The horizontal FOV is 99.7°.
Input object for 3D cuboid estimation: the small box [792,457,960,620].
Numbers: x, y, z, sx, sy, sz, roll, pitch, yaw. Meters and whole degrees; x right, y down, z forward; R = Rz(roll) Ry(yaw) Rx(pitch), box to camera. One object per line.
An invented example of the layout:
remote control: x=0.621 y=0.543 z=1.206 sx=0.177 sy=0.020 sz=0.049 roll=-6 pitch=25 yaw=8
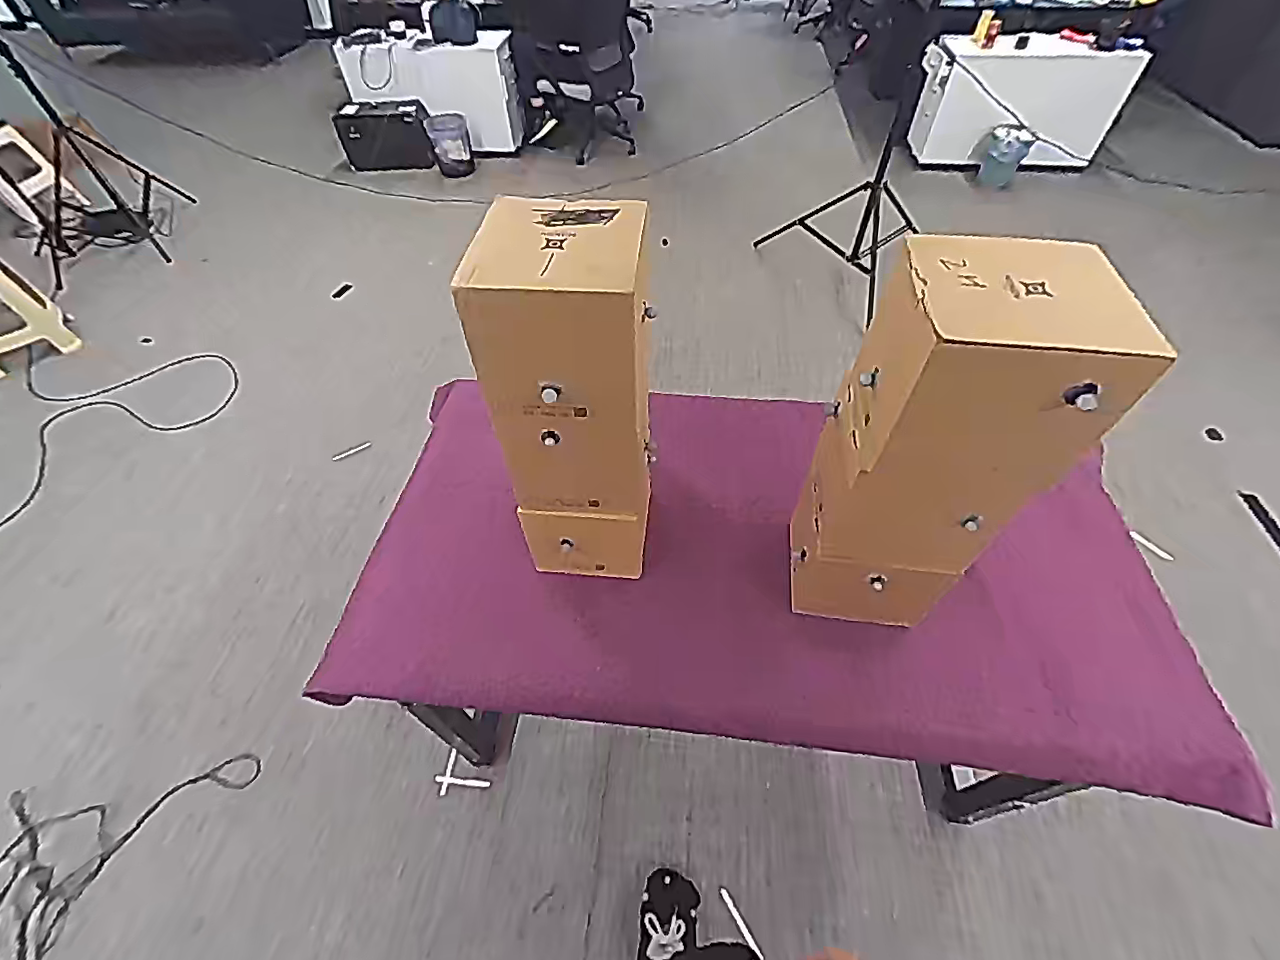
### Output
small box: x=0.320 y=0.088 z=0.780 sx=0.179 sy=0.176 sz=0.168 roll=6 pitch=52 yaw=5

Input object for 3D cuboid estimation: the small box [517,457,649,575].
small box: x=-0.075 y=0.032 z=0.835 sx=0.168 sy=0.176 sz=0.179 roll=3 pitch=51 yaw=4

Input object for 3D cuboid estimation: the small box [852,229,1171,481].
small box: x=0.323 y=-0.115 z=0.520 sx=0.179 sy=0.176 sz=0.168 roll=5 pitch=51 yaw=6

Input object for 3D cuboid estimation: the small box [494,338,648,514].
small box: x=-0.077 y=-0.077 z=0.713 sx=0.168 sy=0.176 sz=0.179 roll=2 pitch=50 yaw=3

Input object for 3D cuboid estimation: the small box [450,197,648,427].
small box: x=-0.080 y=-0.180 z=0.584 sx=0.168 sy=0.176 sz=0.179 roll=3 pitch=52 yaw=4
